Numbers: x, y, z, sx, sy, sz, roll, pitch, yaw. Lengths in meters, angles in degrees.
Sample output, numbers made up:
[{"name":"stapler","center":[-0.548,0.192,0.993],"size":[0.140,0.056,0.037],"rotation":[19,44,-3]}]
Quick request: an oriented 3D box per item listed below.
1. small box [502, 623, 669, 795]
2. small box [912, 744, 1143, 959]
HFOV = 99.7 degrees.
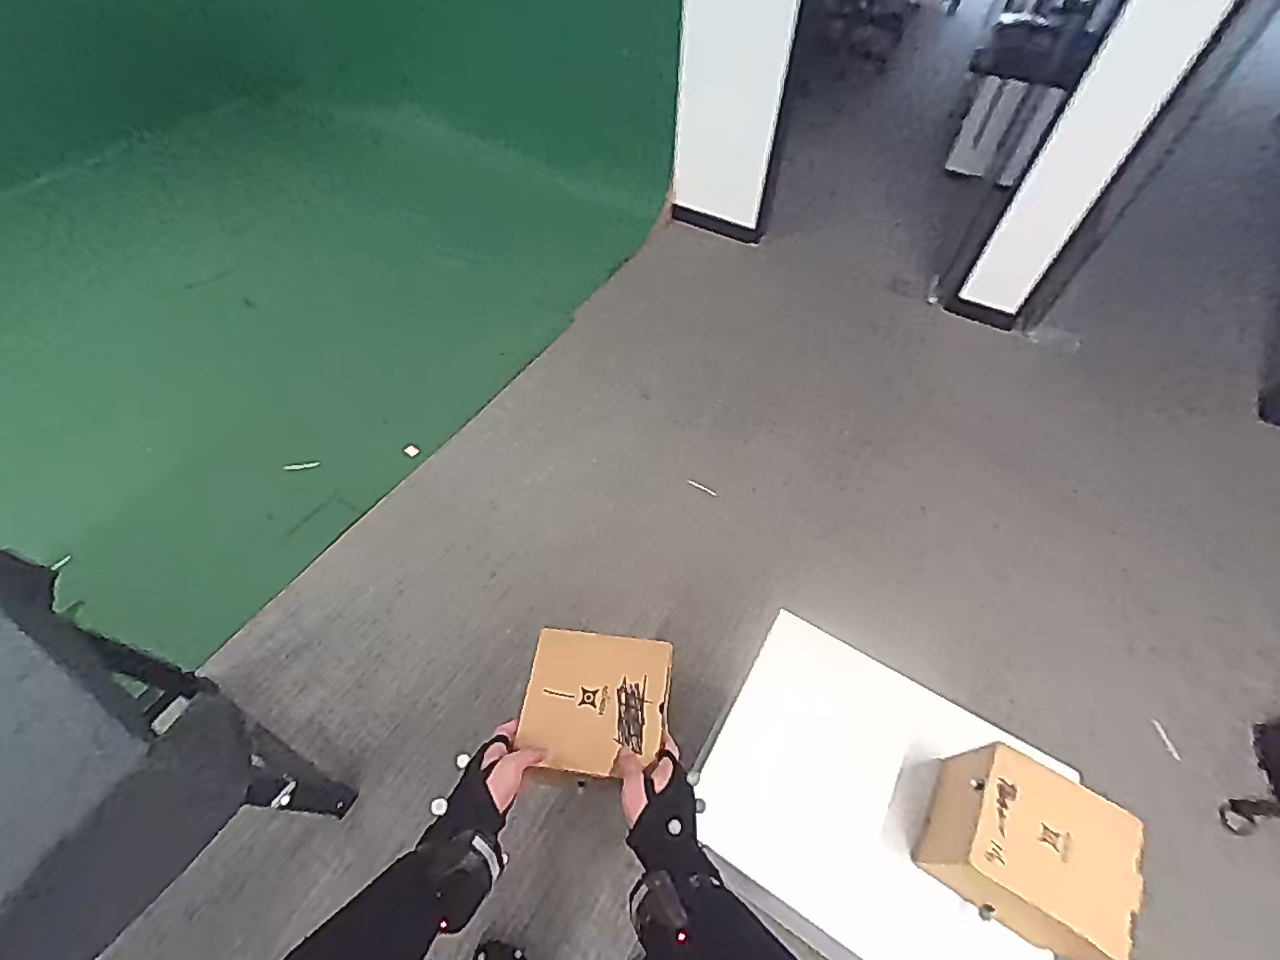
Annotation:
[{"name":"small box","center":[-0.060,0.306,0.713],"size":[0.179,0.176,0.168],"rotation":[5,53,5]},{"name":"small box","center":[0.505,0.488,0.723],"size":[0.179,0.176,0.168],"rotation":[29,59,17]}]
